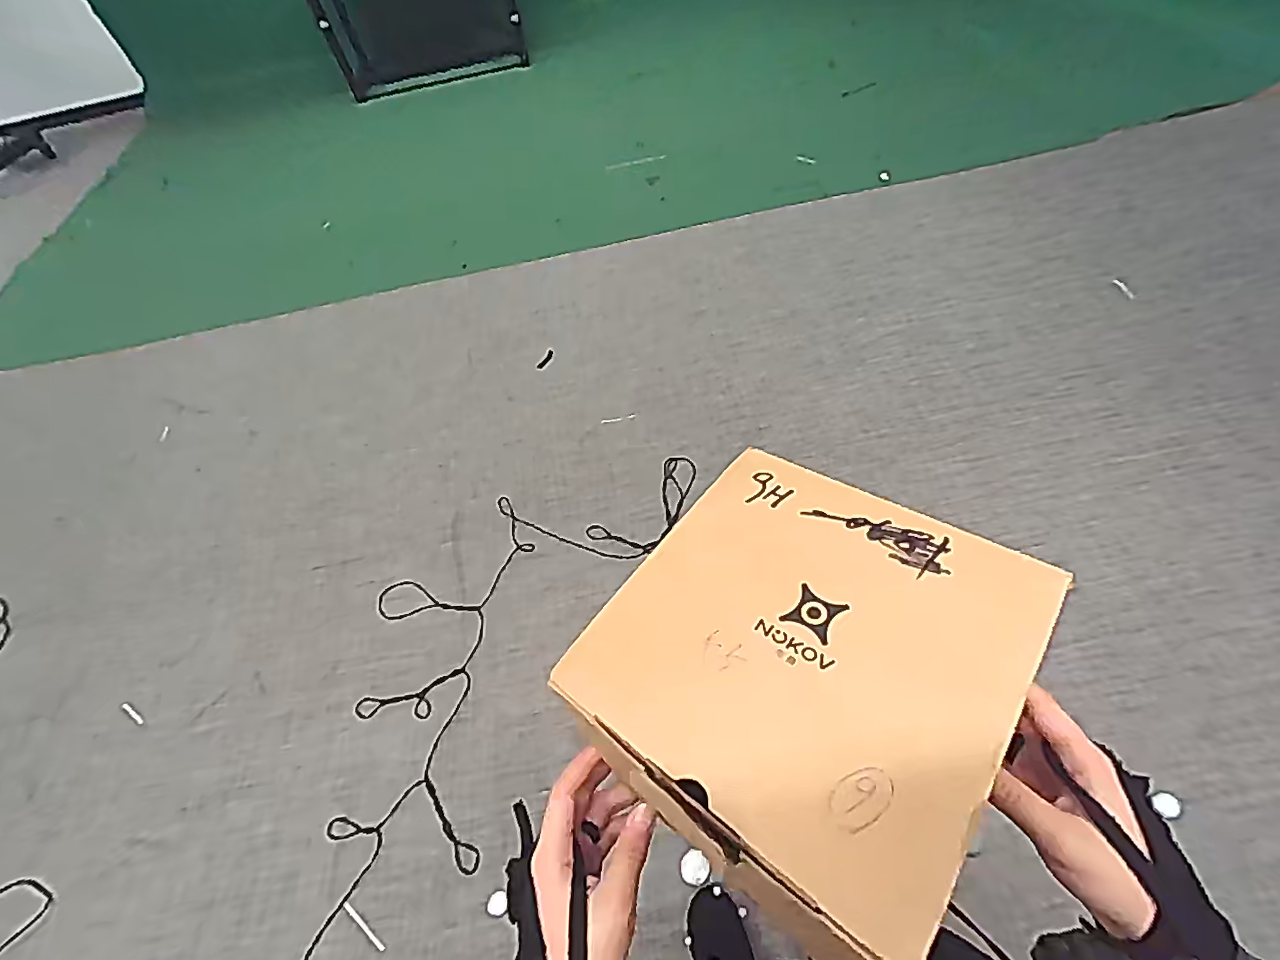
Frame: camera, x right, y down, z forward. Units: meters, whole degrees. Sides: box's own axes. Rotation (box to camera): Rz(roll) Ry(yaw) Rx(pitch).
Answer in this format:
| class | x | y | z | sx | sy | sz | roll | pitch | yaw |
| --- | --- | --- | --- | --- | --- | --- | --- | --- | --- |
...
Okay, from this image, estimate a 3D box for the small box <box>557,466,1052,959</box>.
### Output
| class | x | y | z | sx | sy | sz | roll | pitch | yaw |
| --- | --- | --- | --- | --- | --- | --- | --- | --- | --- |
| small box | 0.088 | 0.130 | 0.308 | 0.168 | 0.176 | 0.179 | 26 | 59 | 32 |
